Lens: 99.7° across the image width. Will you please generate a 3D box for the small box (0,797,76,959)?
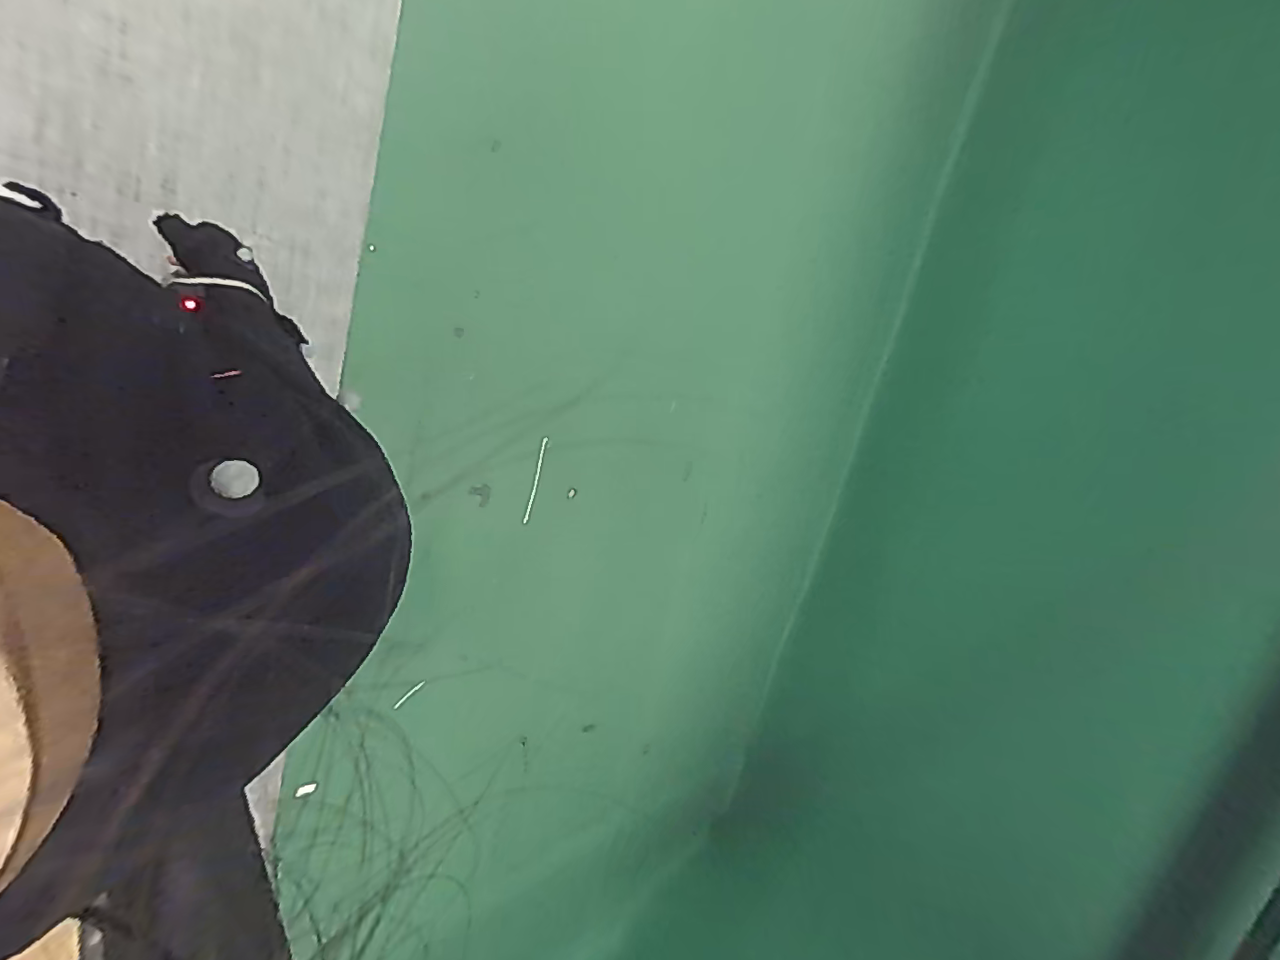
[{"bbox_3d":[-0.693,0.462,0.547,0.168,0.176,0.179,0,110,-46],"label":"small box"}]
